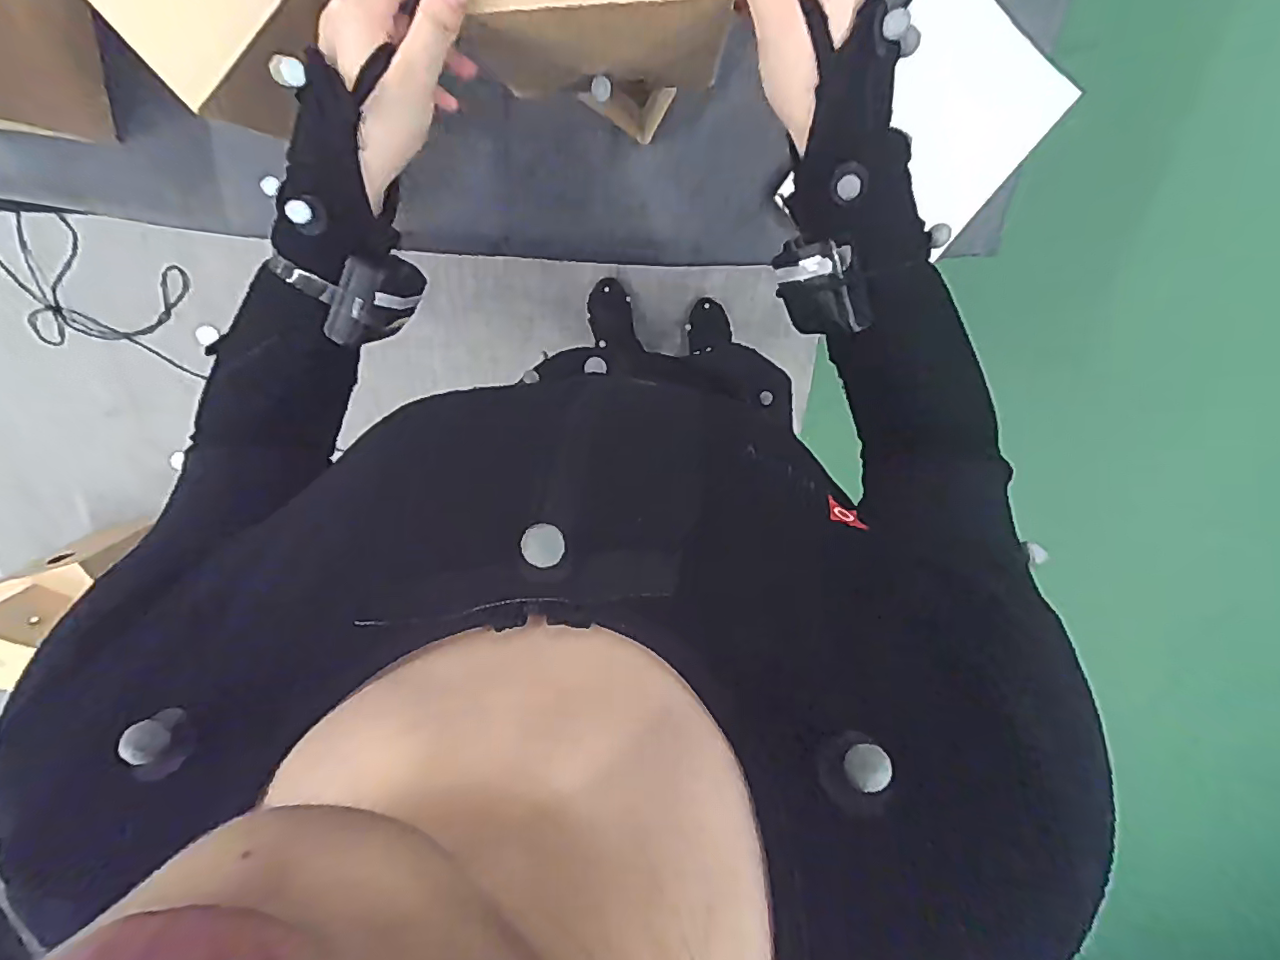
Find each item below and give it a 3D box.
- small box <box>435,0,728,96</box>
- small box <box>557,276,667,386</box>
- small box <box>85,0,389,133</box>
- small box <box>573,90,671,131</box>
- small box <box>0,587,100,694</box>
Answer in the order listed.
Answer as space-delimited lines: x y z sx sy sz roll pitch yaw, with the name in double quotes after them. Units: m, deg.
-0.032 -0.370 0.338 0.168 0.176 0.179 -1 113 4 "small box"
-0.059 -0.357 1.297 0.176 0.168 0.179 38 85 -43 "small box"
-0.371 -0.452 0.491 0.168 0.176 0.179 -36 107 15 "small box"
-0.027 -0.448 0.484 0.179 0.176 0.168 30 111 -9 "small box"
-1.519 0.397 1.357 0.179 0.176 0.168 22 112 -10 "small box"
